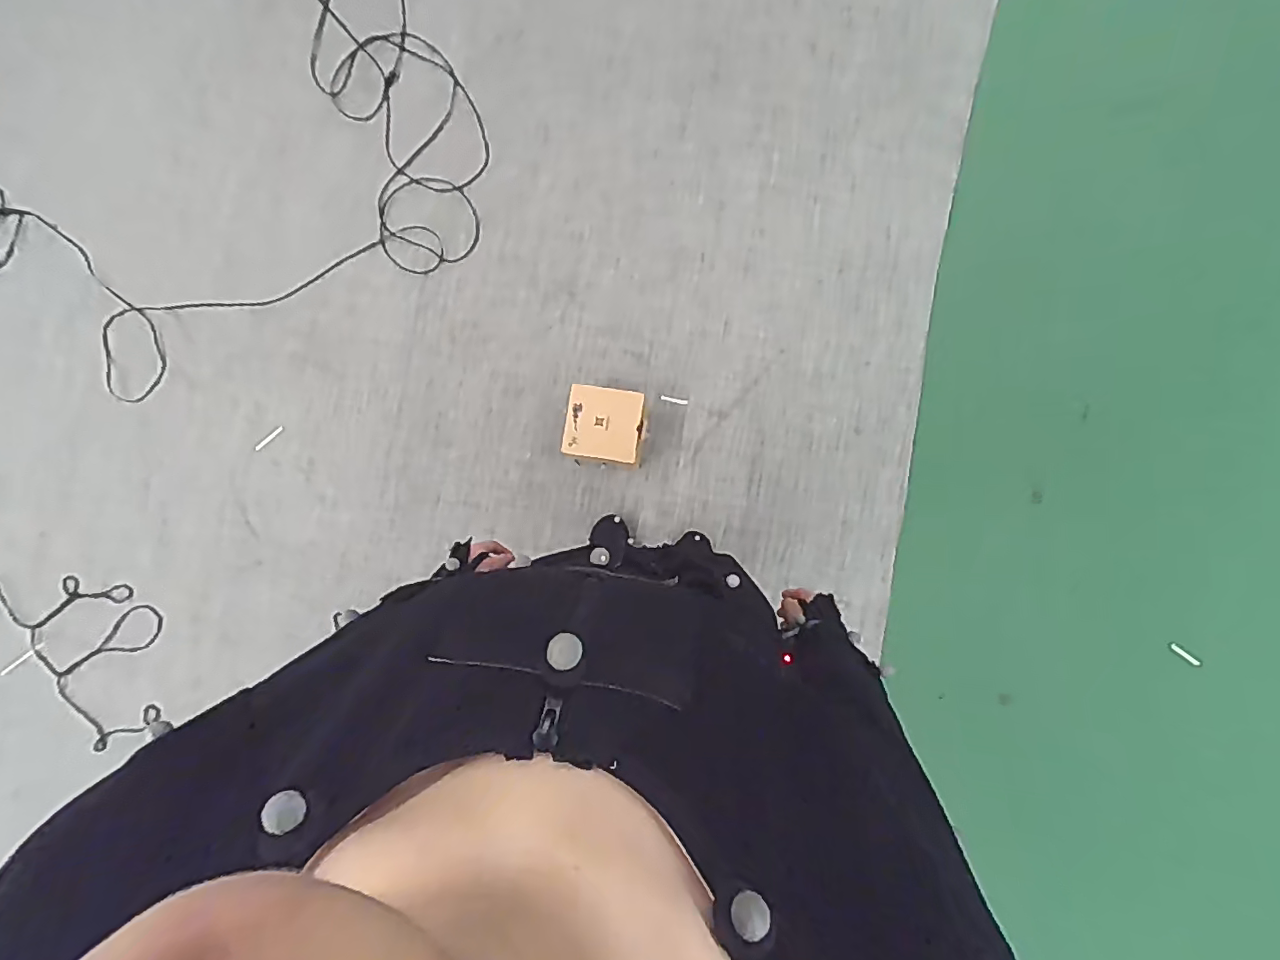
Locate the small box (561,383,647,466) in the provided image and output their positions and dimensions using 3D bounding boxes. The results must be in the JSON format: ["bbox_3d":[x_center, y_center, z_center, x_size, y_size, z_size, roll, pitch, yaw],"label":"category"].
[{"bbox_3d":[-0.081,-0.129,1.323,0.179,0.176,0.168,8,88,3],"label":"small box"}]
